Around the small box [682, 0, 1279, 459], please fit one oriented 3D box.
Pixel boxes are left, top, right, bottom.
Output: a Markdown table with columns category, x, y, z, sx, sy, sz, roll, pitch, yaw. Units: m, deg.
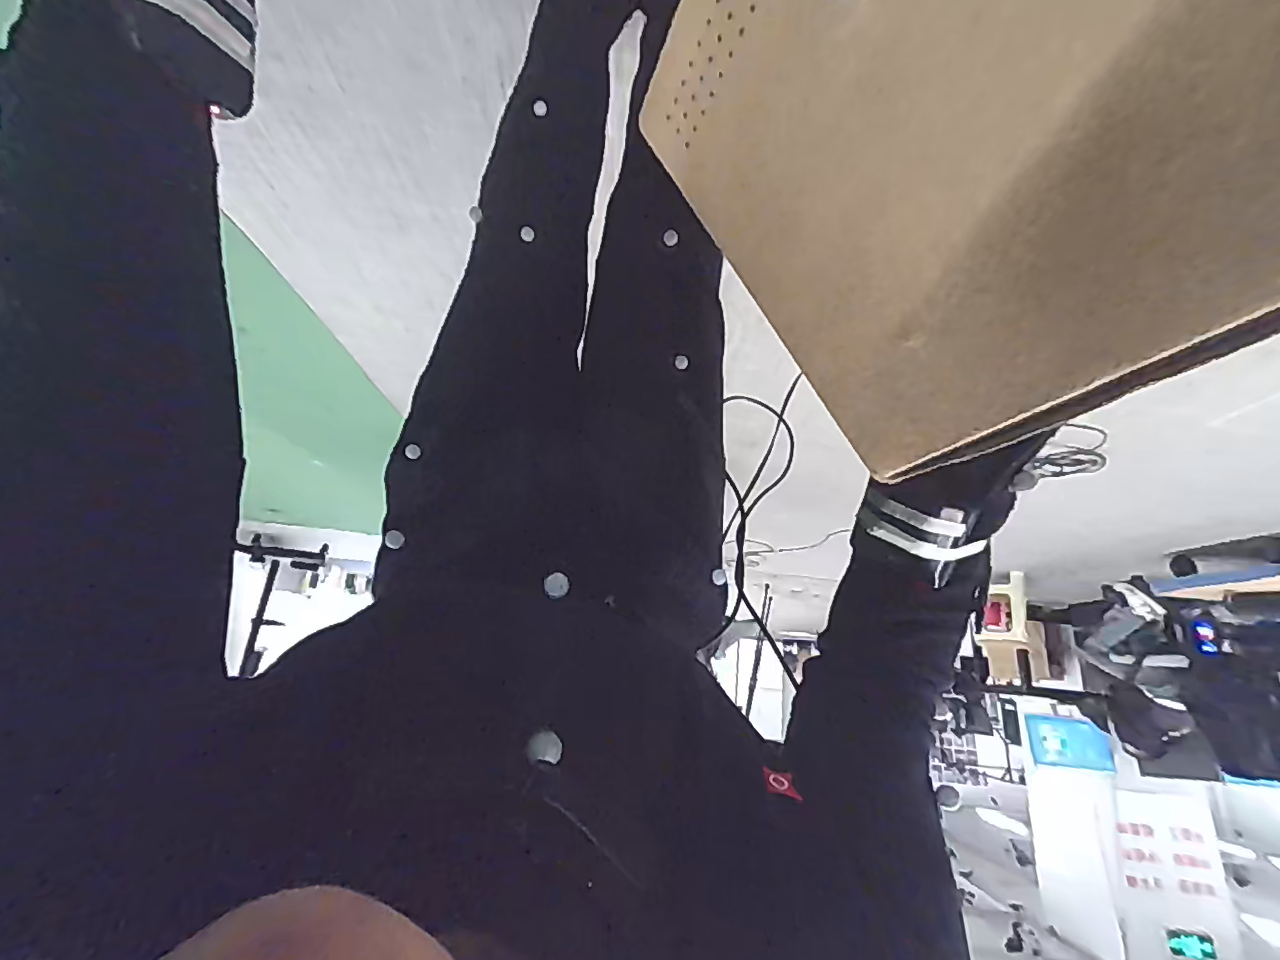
| category | x | y | z | sx | sy | sz | roll | pitch | yaw |
| --- | --- | --- | --- | --- | --- | --- | --- | --- | --- |
| small box | 0.136 | -0.135 | 0.159 | 0.168 | 0.176 | 0.179 | -29 | 174 | -26 |
